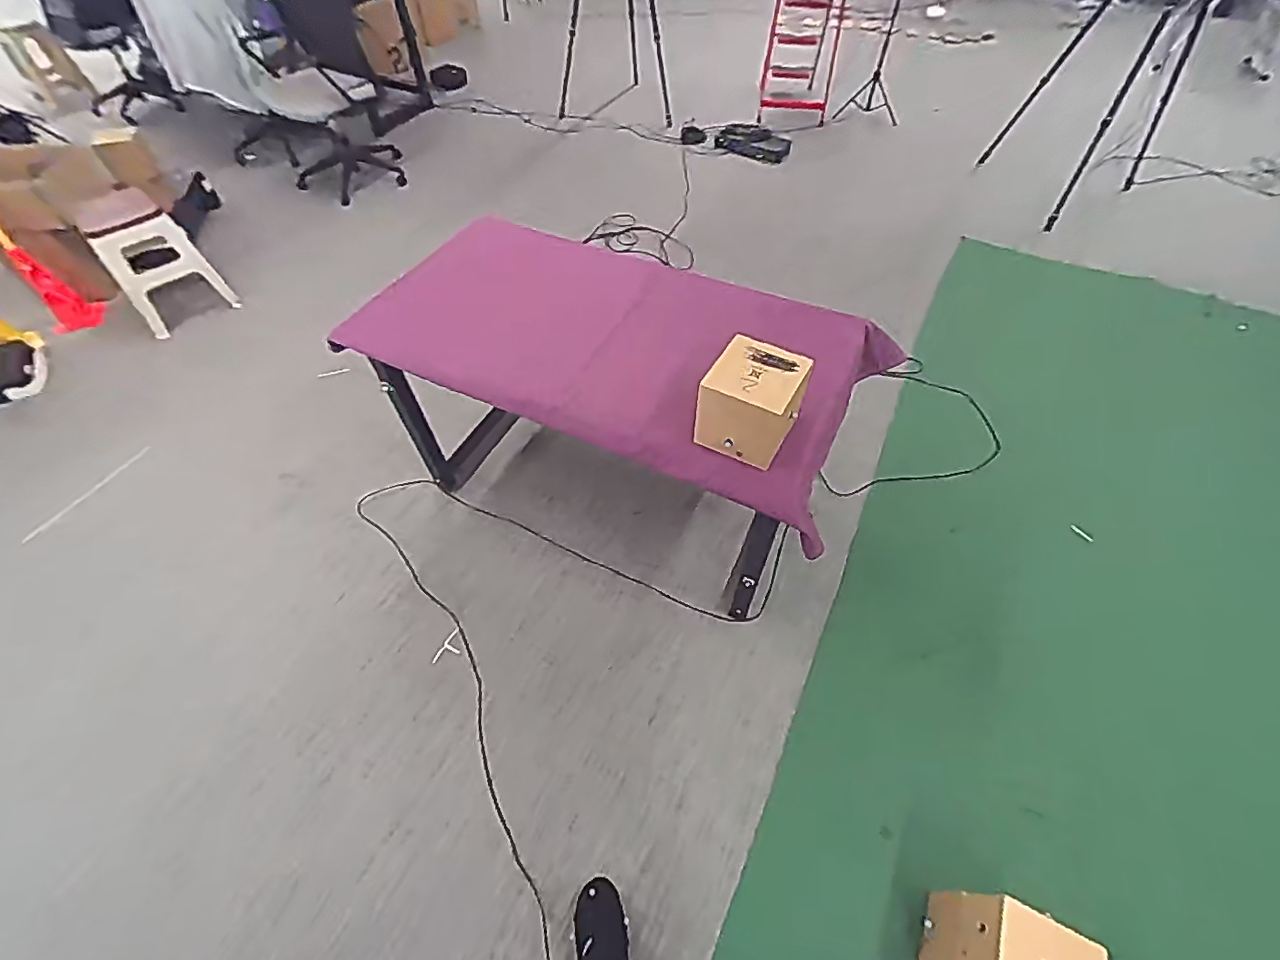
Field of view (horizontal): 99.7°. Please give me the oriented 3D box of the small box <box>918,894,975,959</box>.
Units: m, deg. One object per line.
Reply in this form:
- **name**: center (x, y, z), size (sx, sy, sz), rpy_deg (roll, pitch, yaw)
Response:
- **small box**: center (0.722, 1.007, 1.139), size (0.179, 0.176, 0.168), rpy_deg (22, 56, 17)

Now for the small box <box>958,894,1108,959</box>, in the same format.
- **small box**: center (0.720, 0.913, 1.008), size (0.179, 0.176, 0.168), rpy_deg (23, 56, 15)
